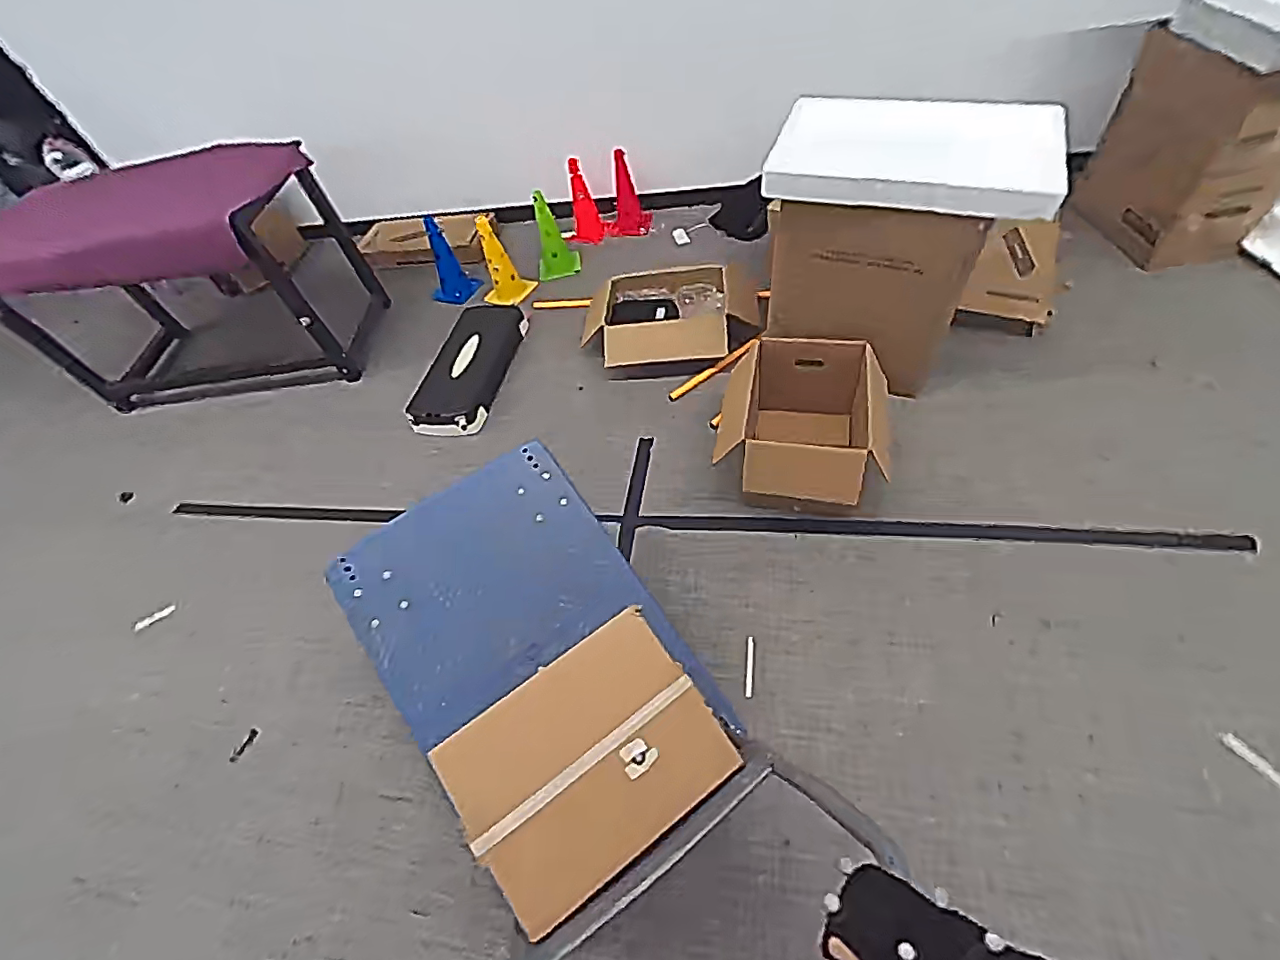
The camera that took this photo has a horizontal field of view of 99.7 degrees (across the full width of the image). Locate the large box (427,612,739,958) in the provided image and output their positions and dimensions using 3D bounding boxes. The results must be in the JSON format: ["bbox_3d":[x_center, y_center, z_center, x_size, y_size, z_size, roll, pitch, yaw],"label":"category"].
[{"bbox_3d":[-0.097,0.505,0.984,0.408,0.320,0.320,-34,76,-16],"label":"large box"}]
